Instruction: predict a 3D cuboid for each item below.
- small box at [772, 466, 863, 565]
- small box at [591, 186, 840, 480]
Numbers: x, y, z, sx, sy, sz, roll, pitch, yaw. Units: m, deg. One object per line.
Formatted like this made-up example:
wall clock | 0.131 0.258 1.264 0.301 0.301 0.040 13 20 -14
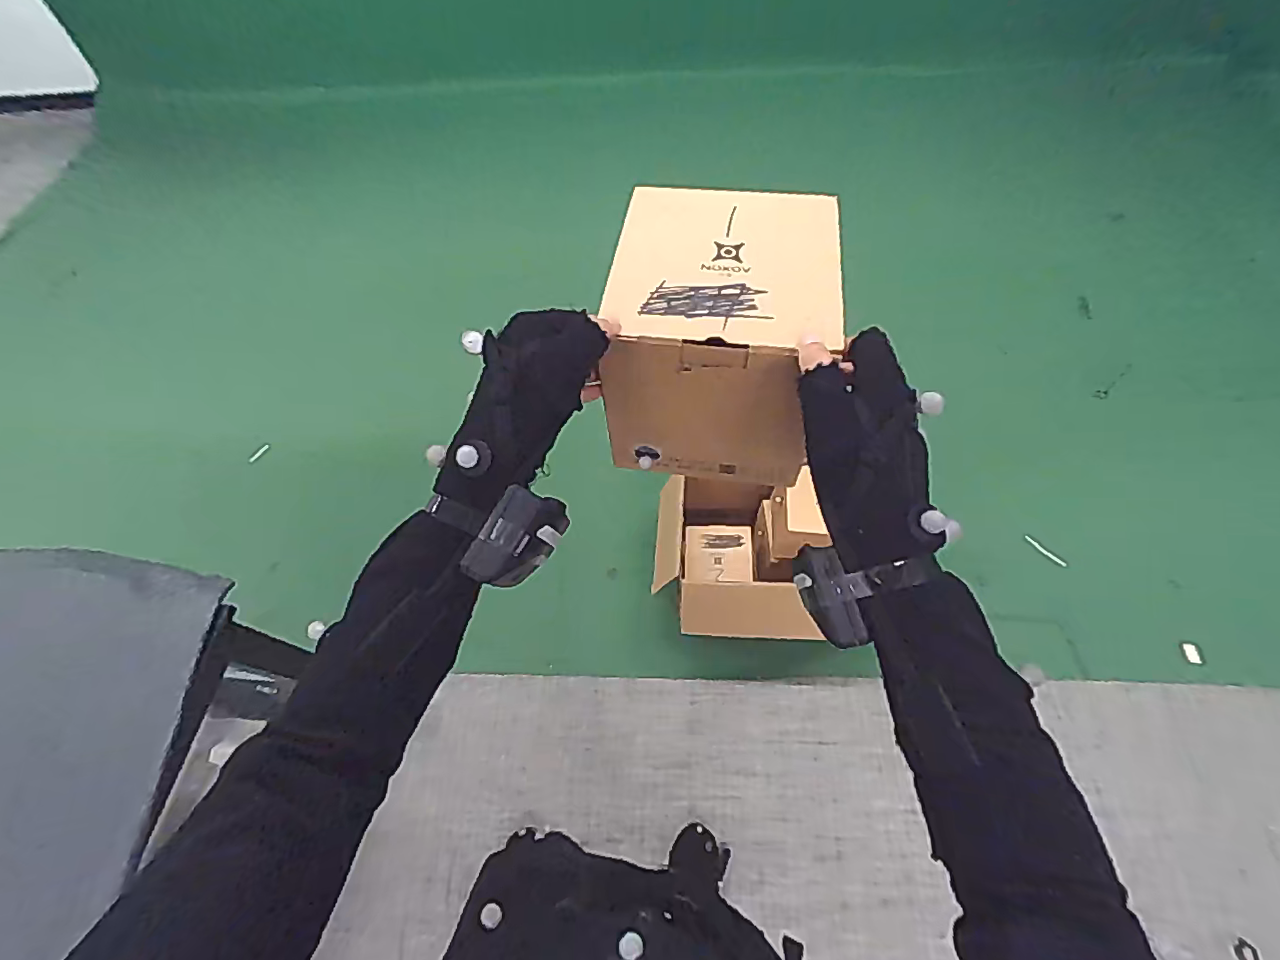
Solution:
small box | 0.410 0.087 1.272 0.168 0.176 0.179 5 59 4
small box | 0.065 -0.117 0.459 0.168 0.176 0.179 7 59 7
